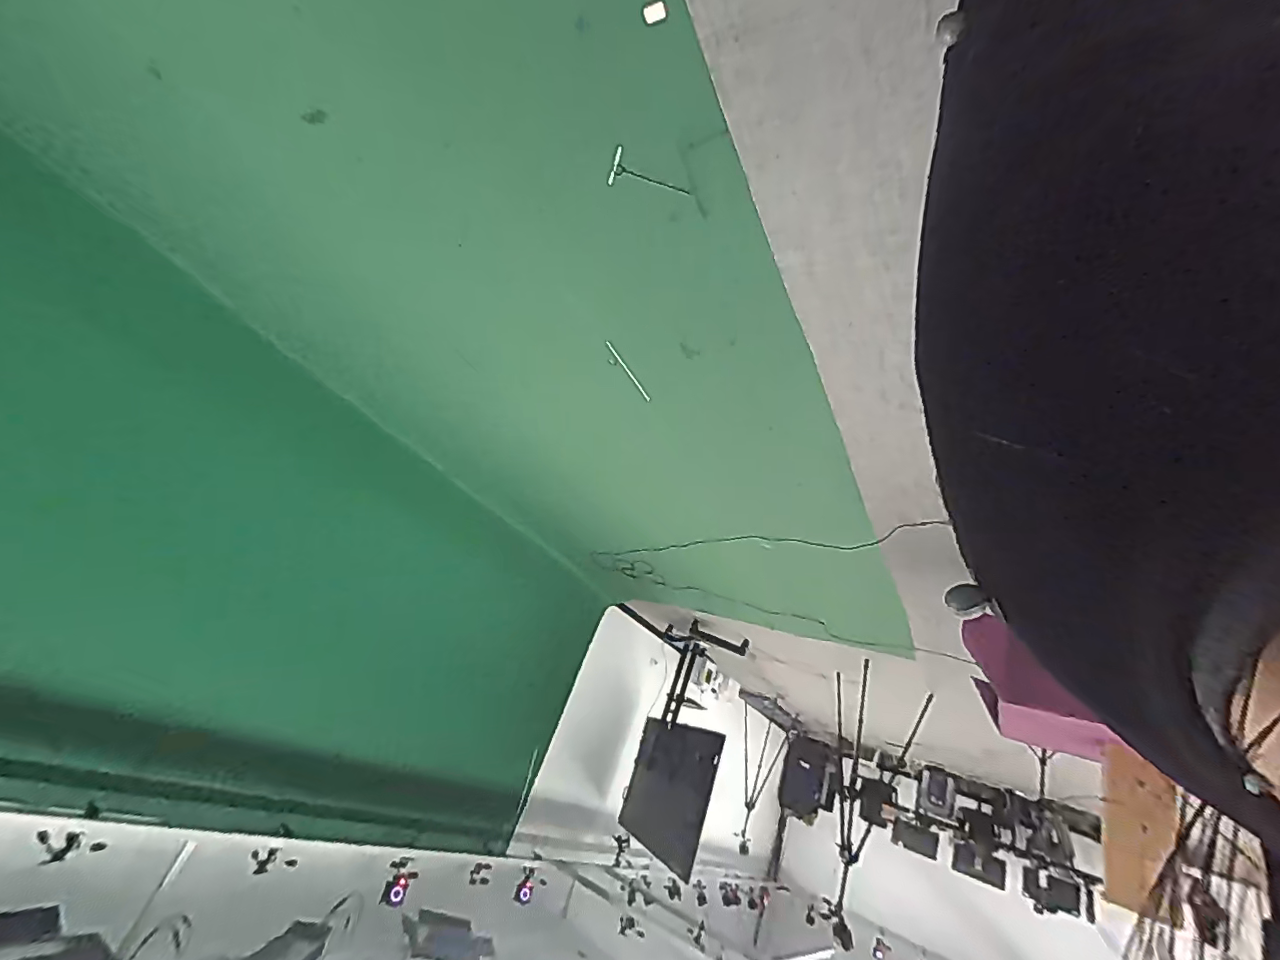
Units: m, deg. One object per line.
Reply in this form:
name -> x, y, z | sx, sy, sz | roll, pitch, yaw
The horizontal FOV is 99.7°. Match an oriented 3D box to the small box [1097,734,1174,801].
small box -> 1.722, 1.007, 1.887 | 0.179, 0.176, 0.168 | 4, 149, 35

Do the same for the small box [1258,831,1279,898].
small box -> 1.982, 1.169, 1.604 | 0.168, 0.176, 0.179 | 3, 150, 37

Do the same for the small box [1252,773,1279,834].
small box -> 2.043, 1.028, 1.664 | 0.179, 0.176, 0.168 | 3, 150, 37

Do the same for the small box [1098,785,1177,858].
small box -> 1.666, 1.146, 1.819 | 0.179, 0.176, 0.168 | 2, 148, 35

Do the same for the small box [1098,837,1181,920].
small box -> 1.612, 1.286, 1.752 | 0.179, 0.176, 0.168 | 1, 147, 36
